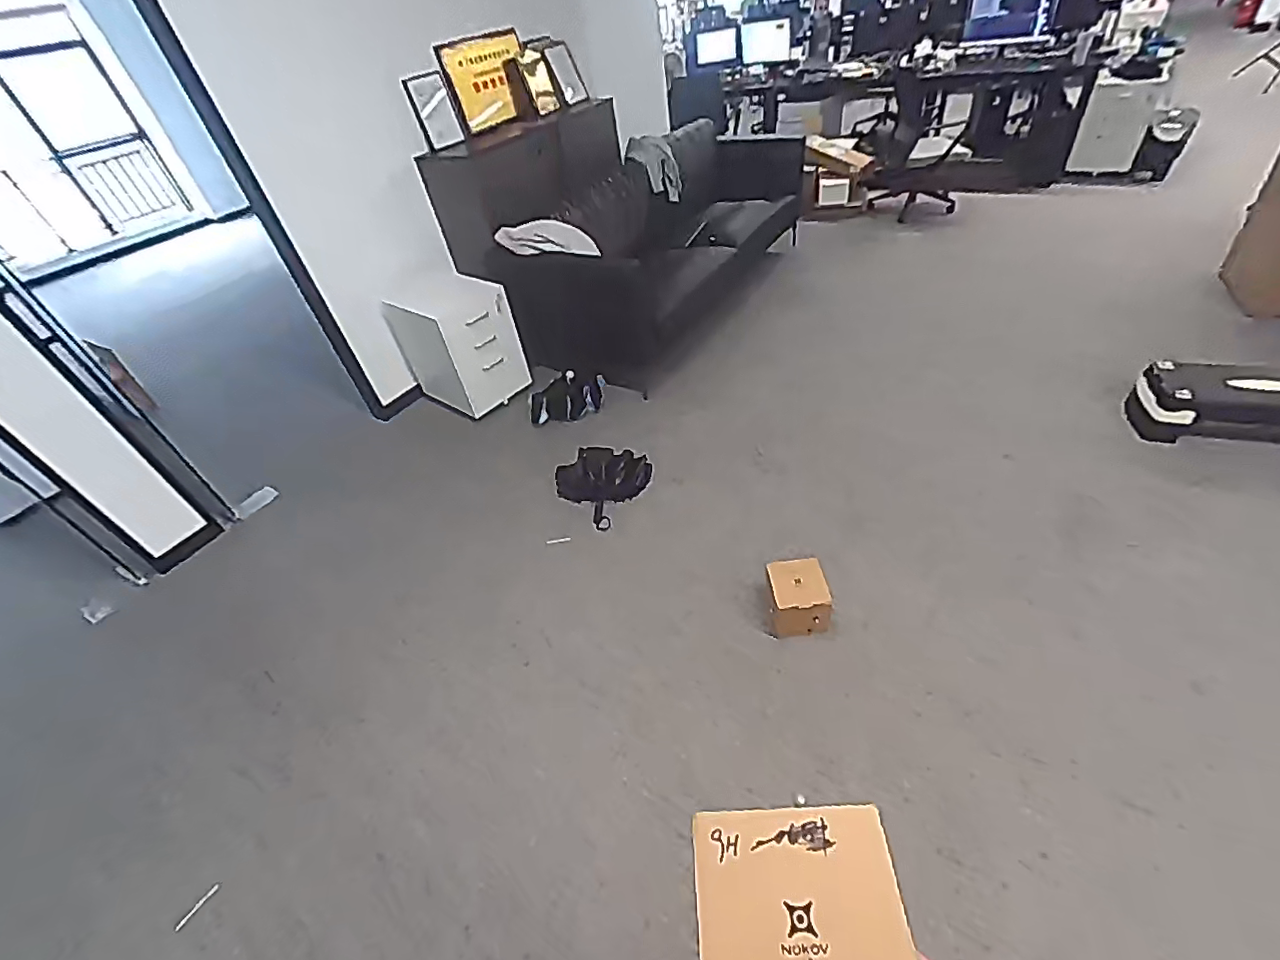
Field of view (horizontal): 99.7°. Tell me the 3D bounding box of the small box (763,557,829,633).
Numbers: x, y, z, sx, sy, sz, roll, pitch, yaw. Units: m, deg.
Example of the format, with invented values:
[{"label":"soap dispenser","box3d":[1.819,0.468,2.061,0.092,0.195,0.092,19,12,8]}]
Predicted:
[{"label":"small box","box3d":[0.495,0.377,1.736,0.168,0.176,0.179,-7,41,2]}]
